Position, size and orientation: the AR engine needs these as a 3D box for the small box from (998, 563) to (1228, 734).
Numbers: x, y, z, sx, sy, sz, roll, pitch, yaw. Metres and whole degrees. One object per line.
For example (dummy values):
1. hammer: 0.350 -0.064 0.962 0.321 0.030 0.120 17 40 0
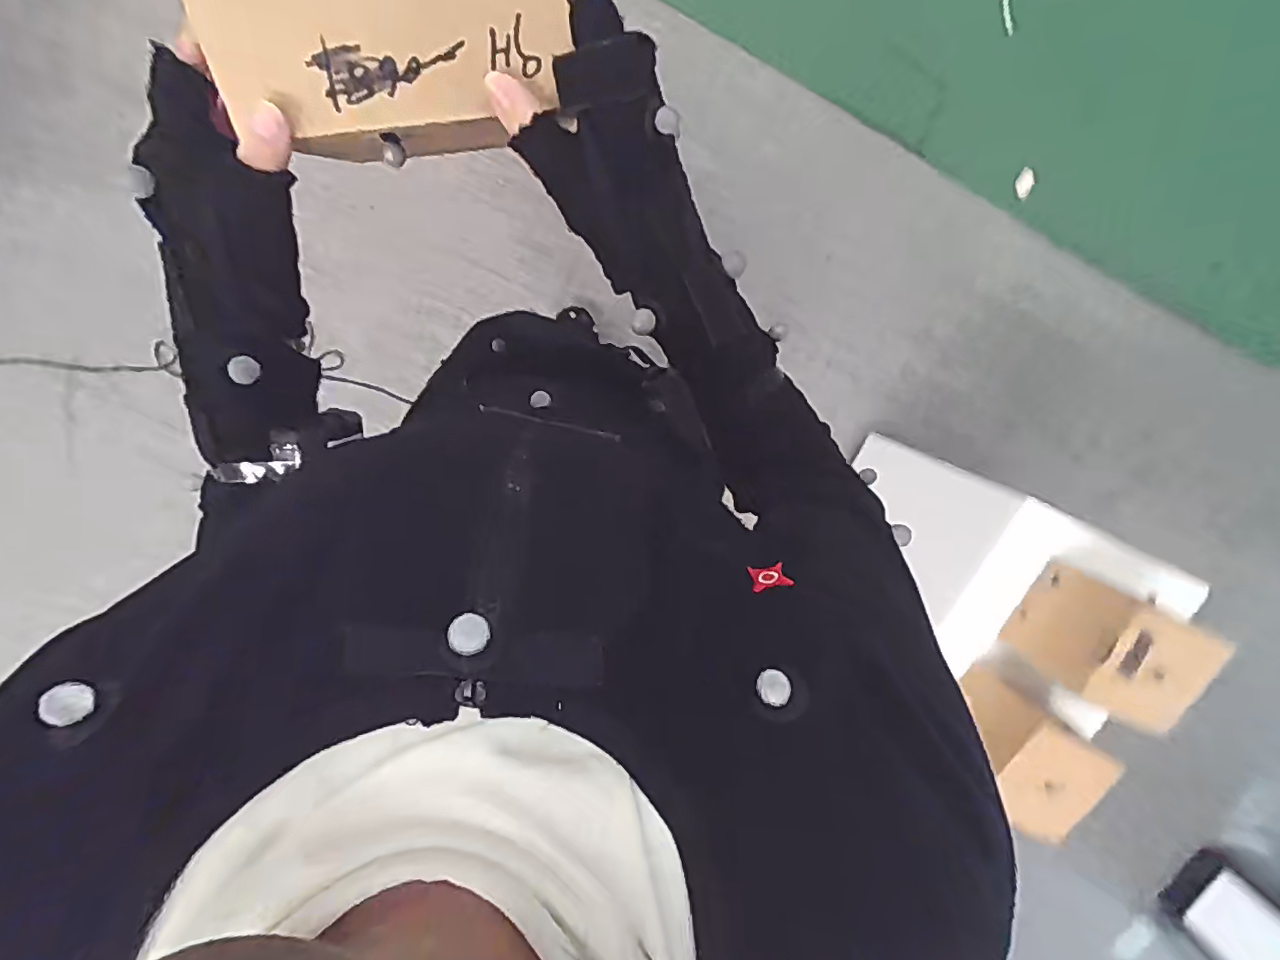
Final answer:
1. small box: 0.720 0.252 0.848 0.179 0.176 0.168 23 104 -9

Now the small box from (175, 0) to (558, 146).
1. small box: -0.144 -0.300 0.296 0.168 0.176 0.179 -10 119 -5

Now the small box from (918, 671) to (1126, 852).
1. small box: 0.607 0.448 0.883 0.179 0.176 0.168 30 101 -8
